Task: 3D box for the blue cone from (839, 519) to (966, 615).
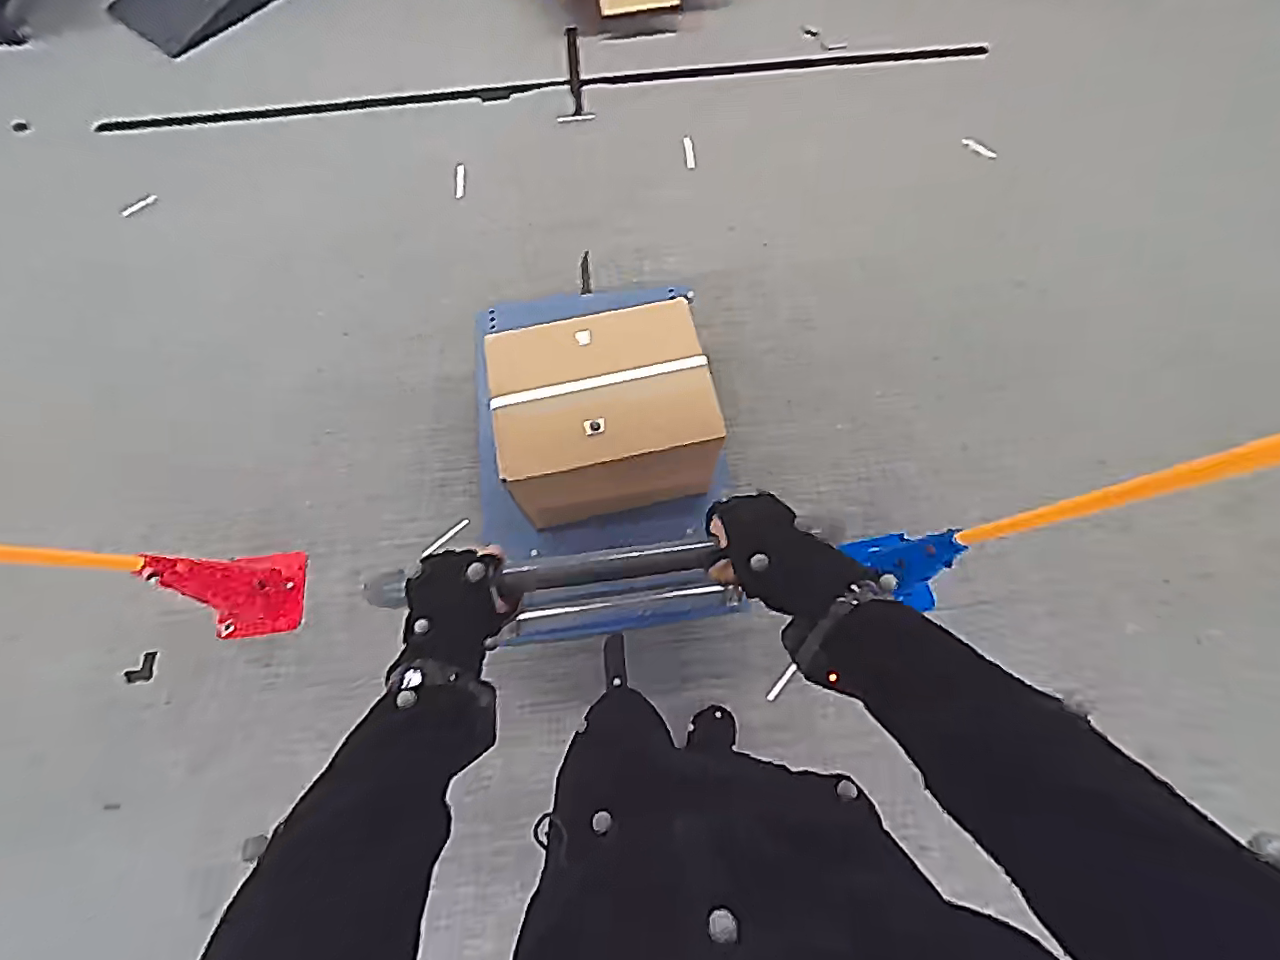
[{"bbox_3d":[0.606,0.170,1.192,0.193,0.380,0.192,-9,68,-4],"label":"blue cone"}]
